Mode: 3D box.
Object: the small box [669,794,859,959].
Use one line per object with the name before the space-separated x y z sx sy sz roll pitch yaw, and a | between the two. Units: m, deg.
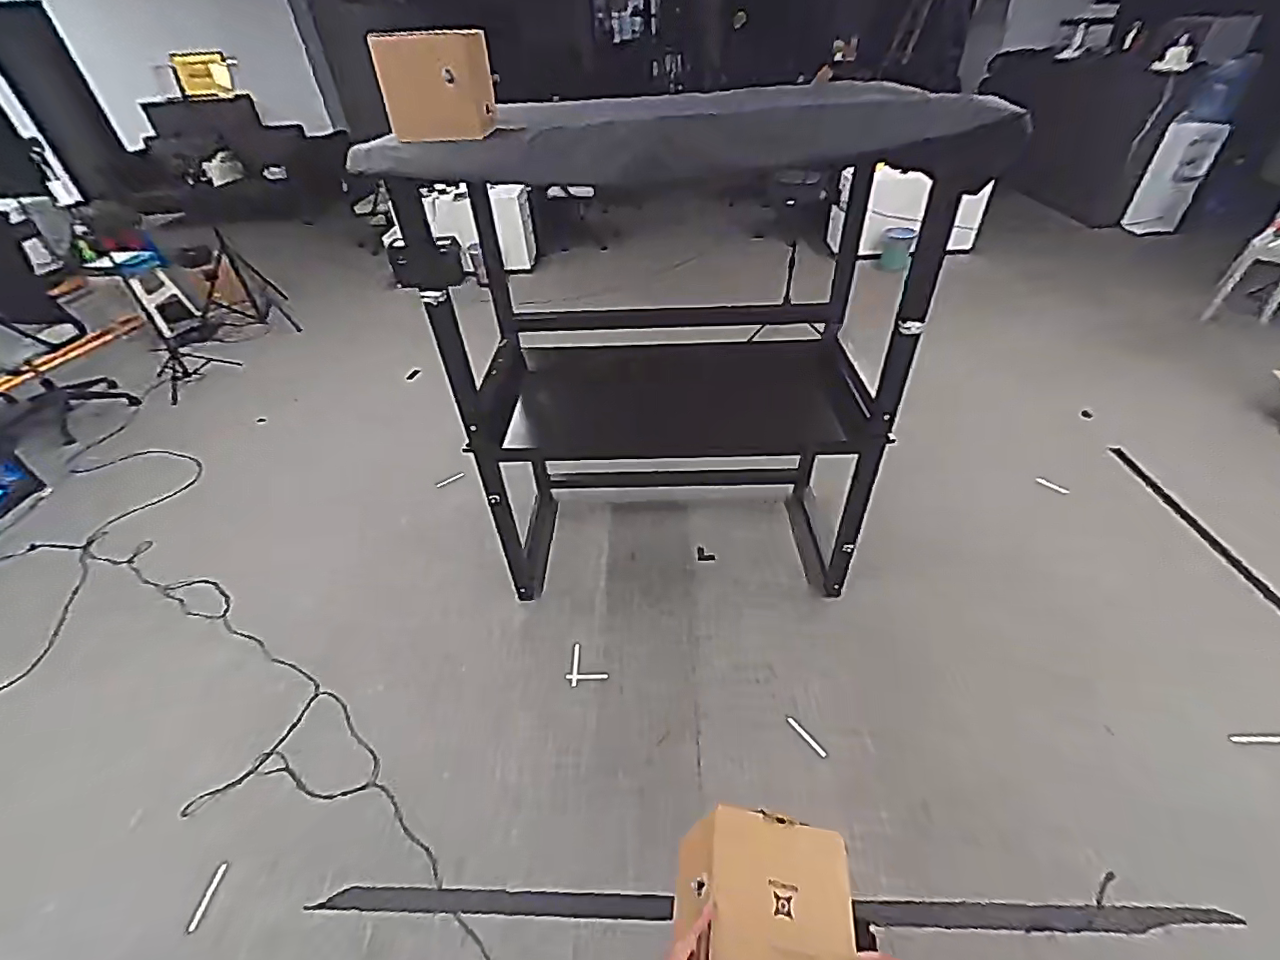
small box | 0.138 0.518 0.644 0.168 0.176 0.179 16 38 -1
